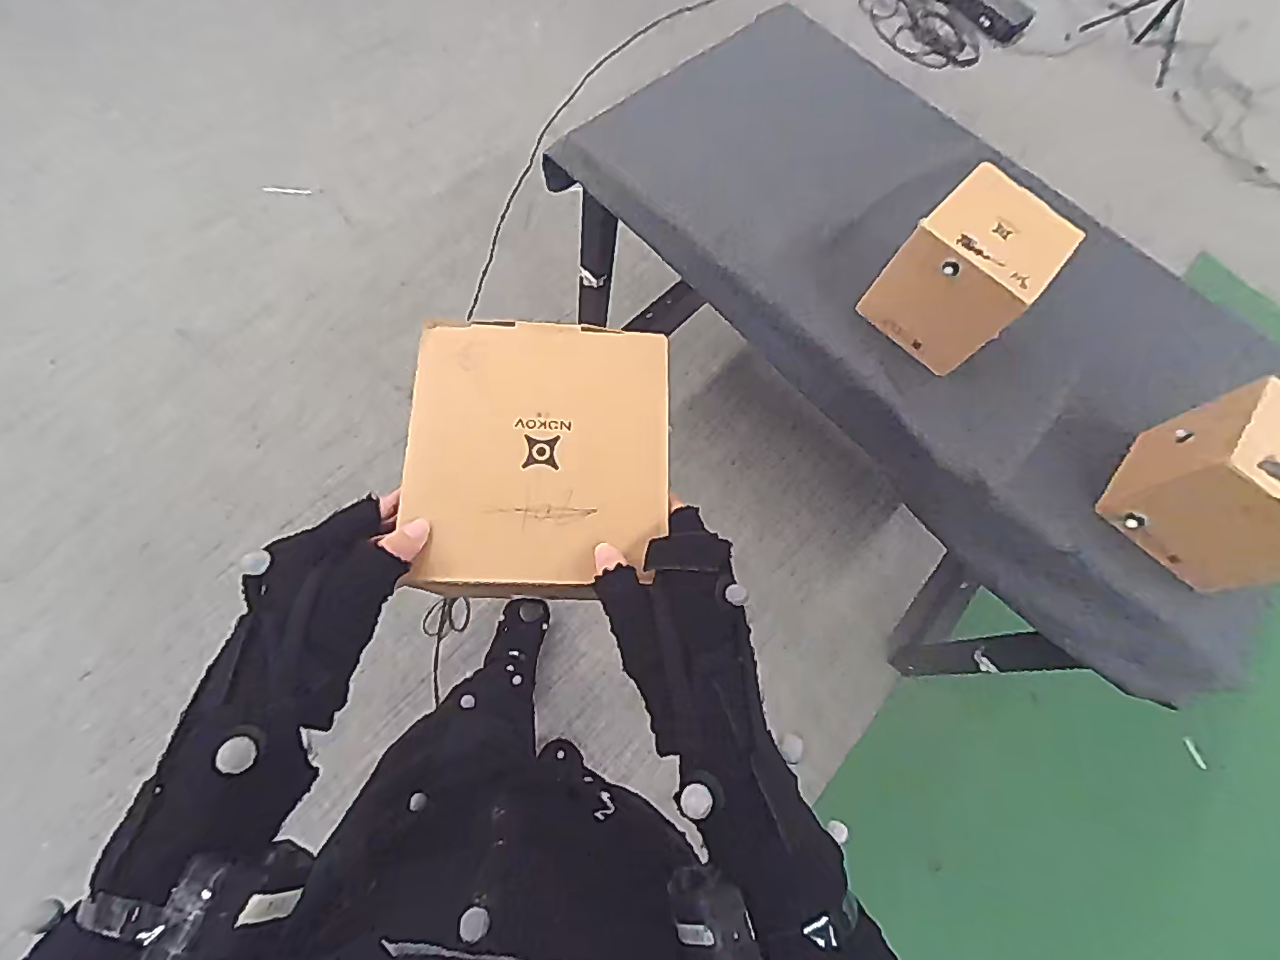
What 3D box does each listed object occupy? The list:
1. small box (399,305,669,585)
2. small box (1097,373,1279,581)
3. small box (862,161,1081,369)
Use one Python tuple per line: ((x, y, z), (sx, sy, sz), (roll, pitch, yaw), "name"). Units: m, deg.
((-0.071, -0.012, 0.429), (0.168, 0.176, 0.179), (2, 76, -6), "small box")
((0.747, 0.006, 0.693), (0.168, 0.176, 0.179), (44, 69, 9), "small box")
((0.451, -0.295, 0.763), (0.168, 0.176, 0.179), (43, 69, 9), "small box")
